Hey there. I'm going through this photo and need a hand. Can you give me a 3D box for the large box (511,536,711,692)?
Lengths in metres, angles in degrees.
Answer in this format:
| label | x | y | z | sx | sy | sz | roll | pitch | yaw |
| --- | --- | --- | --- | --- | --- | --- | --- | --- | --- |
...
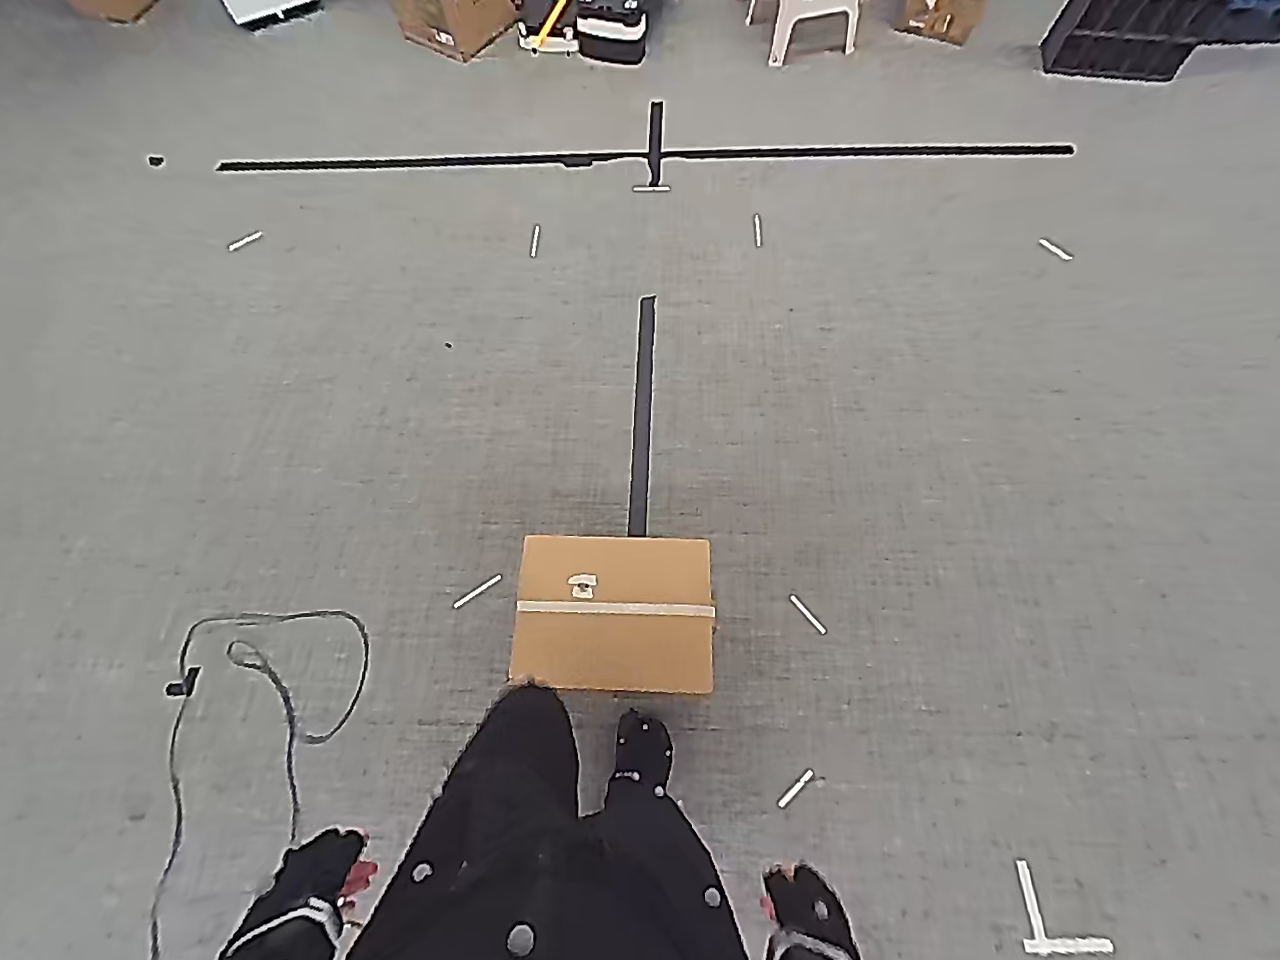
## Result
| label | x | y | z | sx | sy | sz | roll | pitch | yaw |
| --- | --- | --- | --- | --- | --- | --- | --- | --- | --- |
| large box | -0.048 | 0.323 | 1.256 | 0.408 | 0.320 | 0.320 | 1 | 66 | 3 |
